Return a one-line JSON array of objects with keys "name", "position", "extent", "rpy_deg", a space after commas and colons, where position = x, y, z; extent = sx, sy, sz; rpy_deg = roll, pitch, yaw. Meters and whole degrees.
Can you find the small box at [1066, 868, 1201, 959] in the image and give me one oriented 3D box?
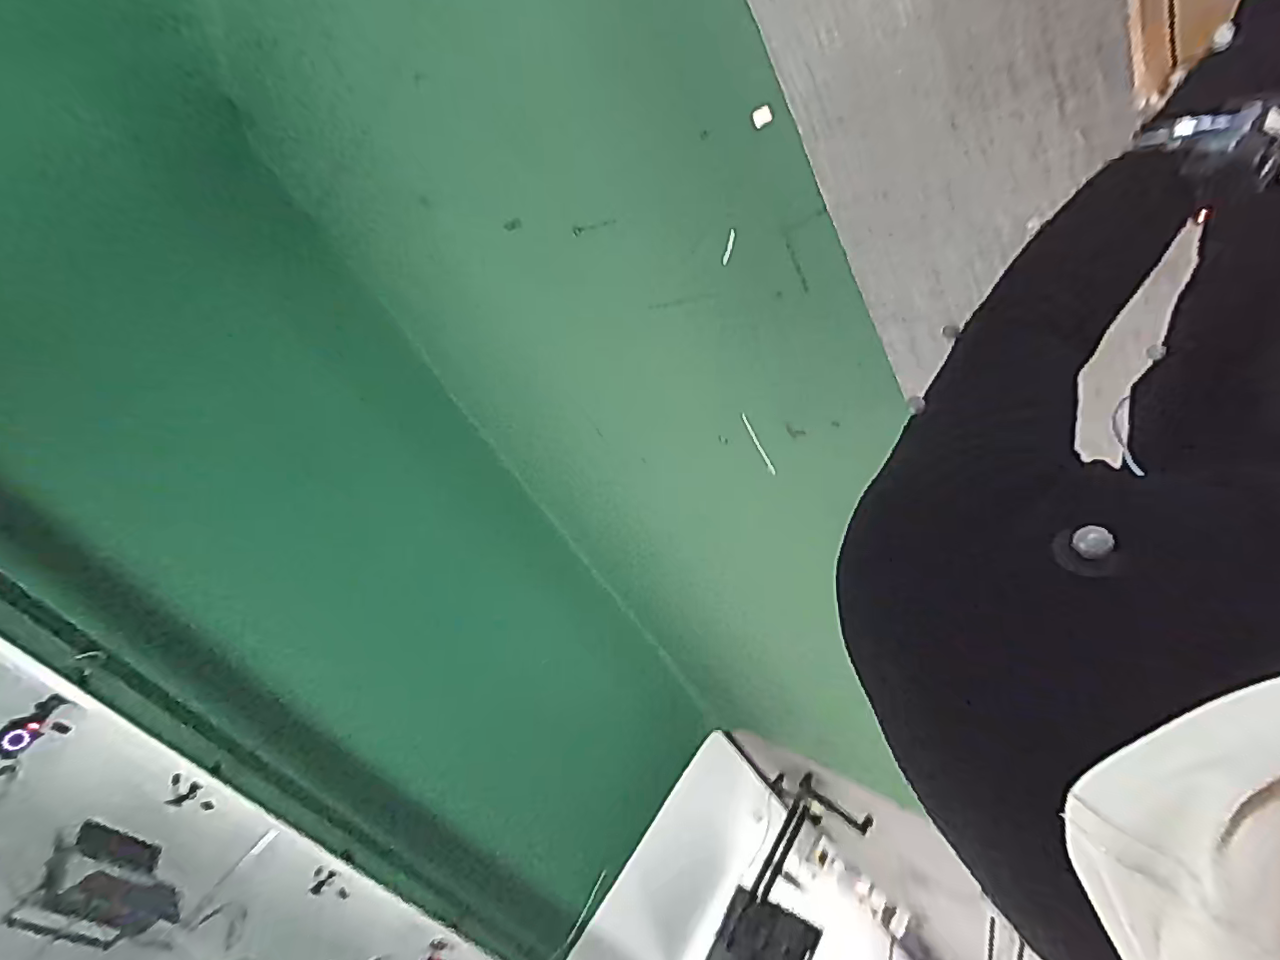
[{"name": "small box", "position": [1.195, 1.086, 1.309], "extent": [0.168, 0.176, 0.179], "rpy_deg": [38, 151, 7]}]
